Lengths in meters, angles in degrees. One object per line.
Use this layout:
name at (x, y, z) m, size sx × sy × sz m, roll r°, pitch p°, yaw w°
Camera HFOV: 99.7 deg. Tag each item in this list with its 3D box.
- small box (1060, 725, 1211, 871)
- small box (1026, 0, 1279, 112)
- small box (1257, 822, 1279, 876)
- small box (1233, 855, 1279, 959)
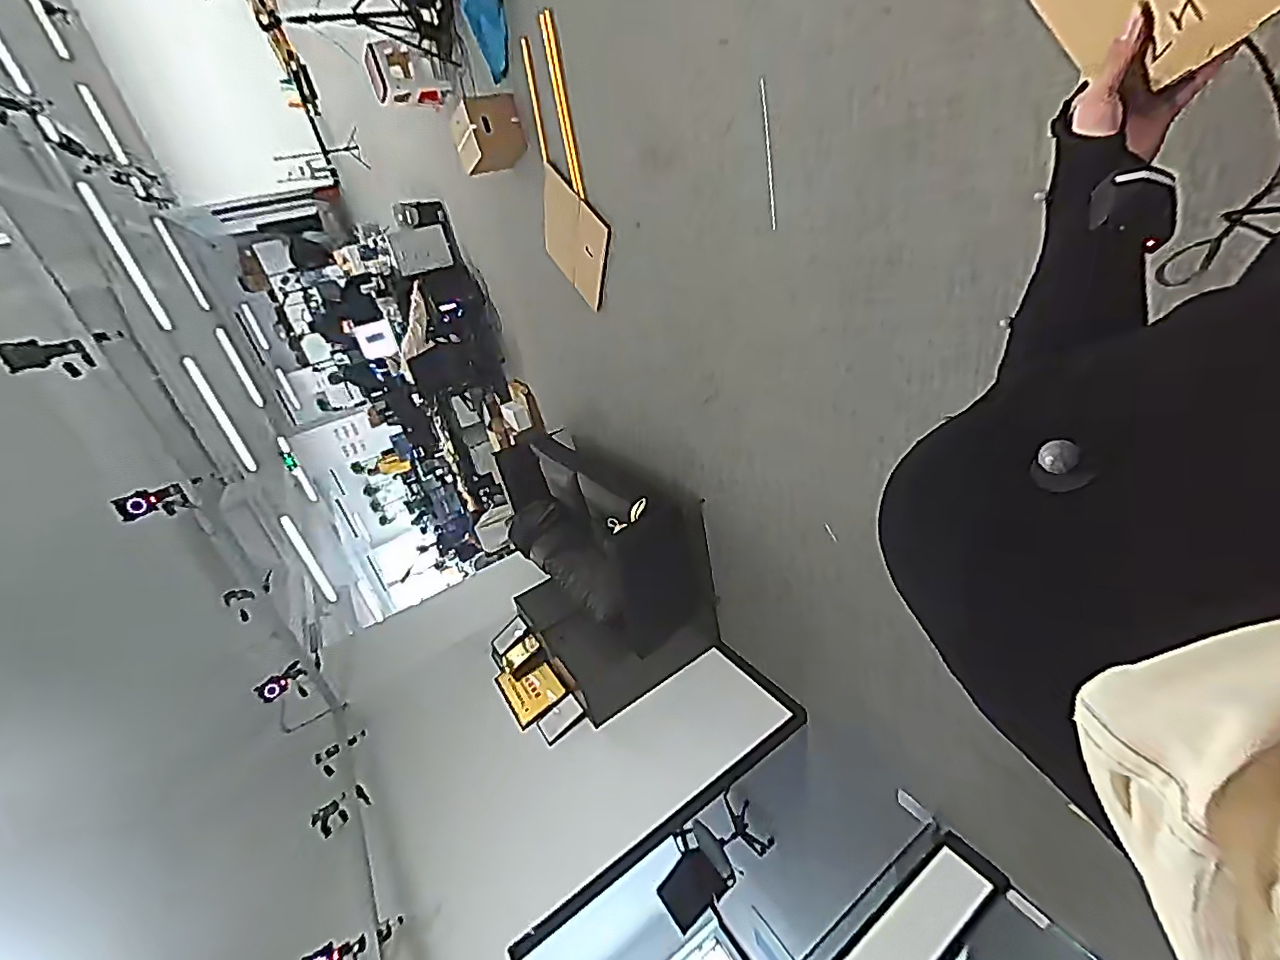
small box at (1.041, 0.659, 1.138) m, size 0.168 × 0.176 × 0.179 m, roll 37°, pitch 146°, yaw 47°
small box at (0.460, -0.465, 0.436) m, size 0.179 × 0.176 × 0.168 m, roll 48°, pitch 172°, yaw -6°
small box at (1.332, 0.711, 1.004) m, size 0.179 × 0.176 × 0.168 m, roll 34°, pitch 142°, yaw 48°
small box at (1.199, 0.769, 0.931) m, size 0.168 × 0.176 × 0.179 m, roll 34°, pitch 142°, yaw 49°
